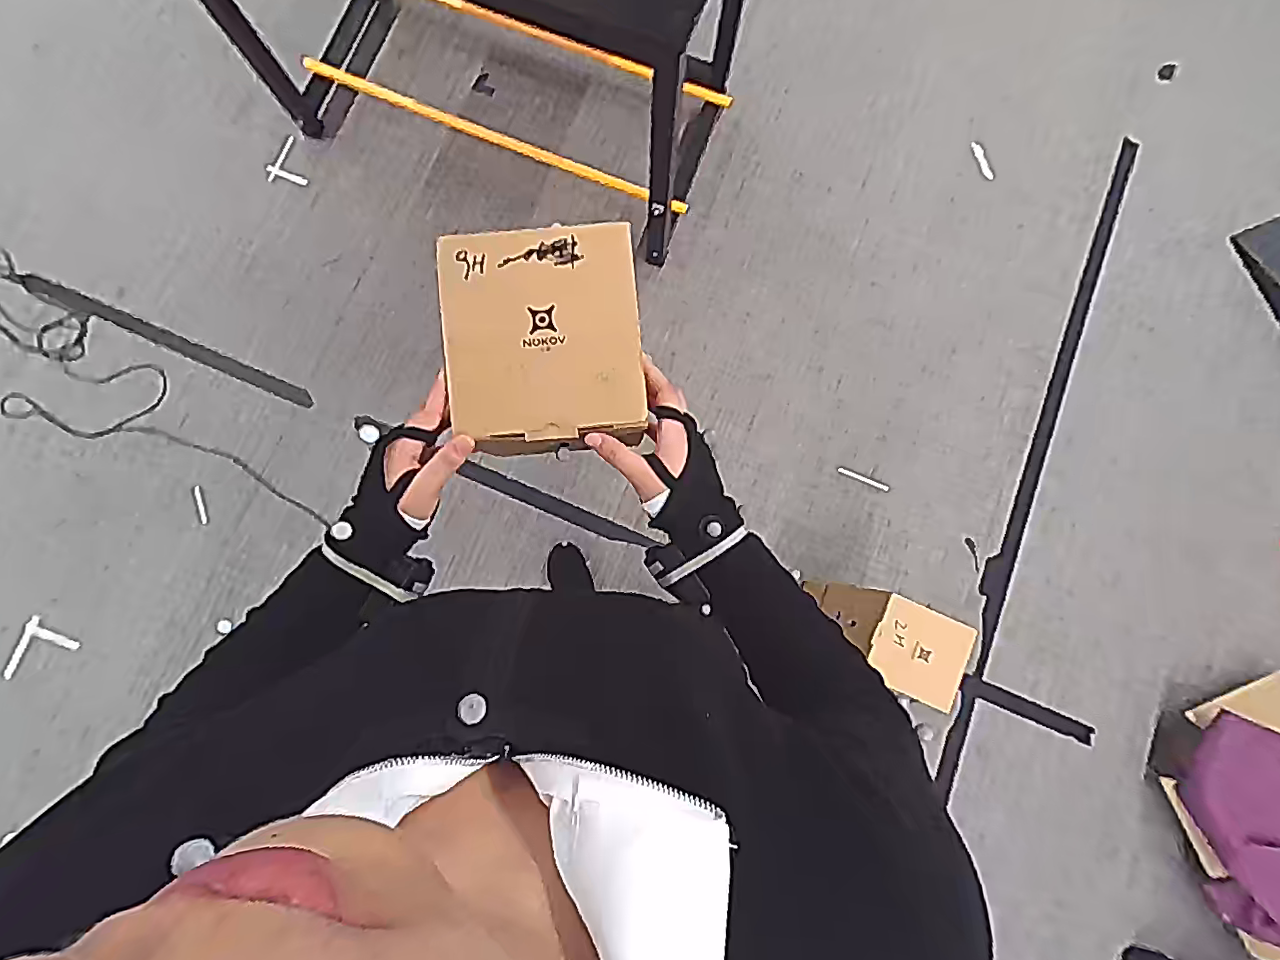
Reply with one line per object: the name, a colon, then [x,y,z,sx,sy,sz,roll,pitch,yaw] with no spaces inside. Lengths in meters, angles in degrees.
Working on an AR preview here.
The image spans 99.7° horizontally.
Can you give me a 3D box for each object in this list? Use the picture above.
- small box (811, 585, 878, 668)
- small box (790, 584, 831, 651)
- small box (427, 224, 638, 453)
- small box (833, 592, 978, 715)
small box: [0.516,0.351,1.243,0.168,0.176,0.179,21,83,3]
small box: [0.514,0.373,1.406,0.179,0.176,0.168,17,82,3]
small box: [-0.089,-0.120,0.528,0.168,0.176,0.179,-6,89,-2]
small box: [0.518,0.333,1.079,0.179,0.176,0.168,25,82,3]
